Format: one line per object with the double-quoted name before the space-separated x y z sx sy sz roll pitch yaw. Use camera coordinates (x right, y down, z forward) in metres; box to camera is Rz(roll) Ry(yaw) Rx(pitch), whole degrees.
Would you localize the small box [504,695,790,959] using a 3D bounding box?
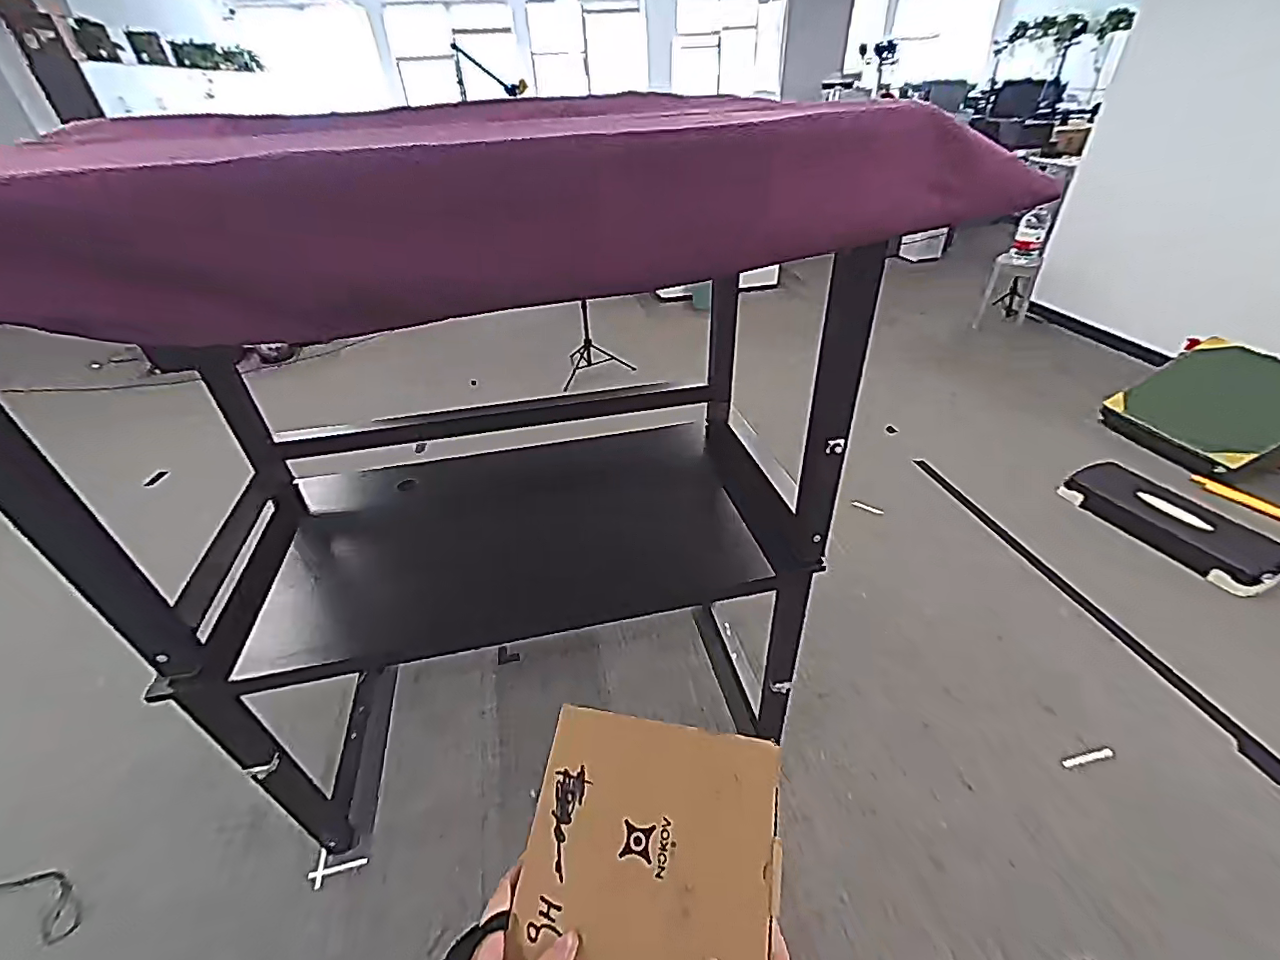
"small box" 0.017 0.295 0.443 0.179 0.176 0.168 7 55 10
